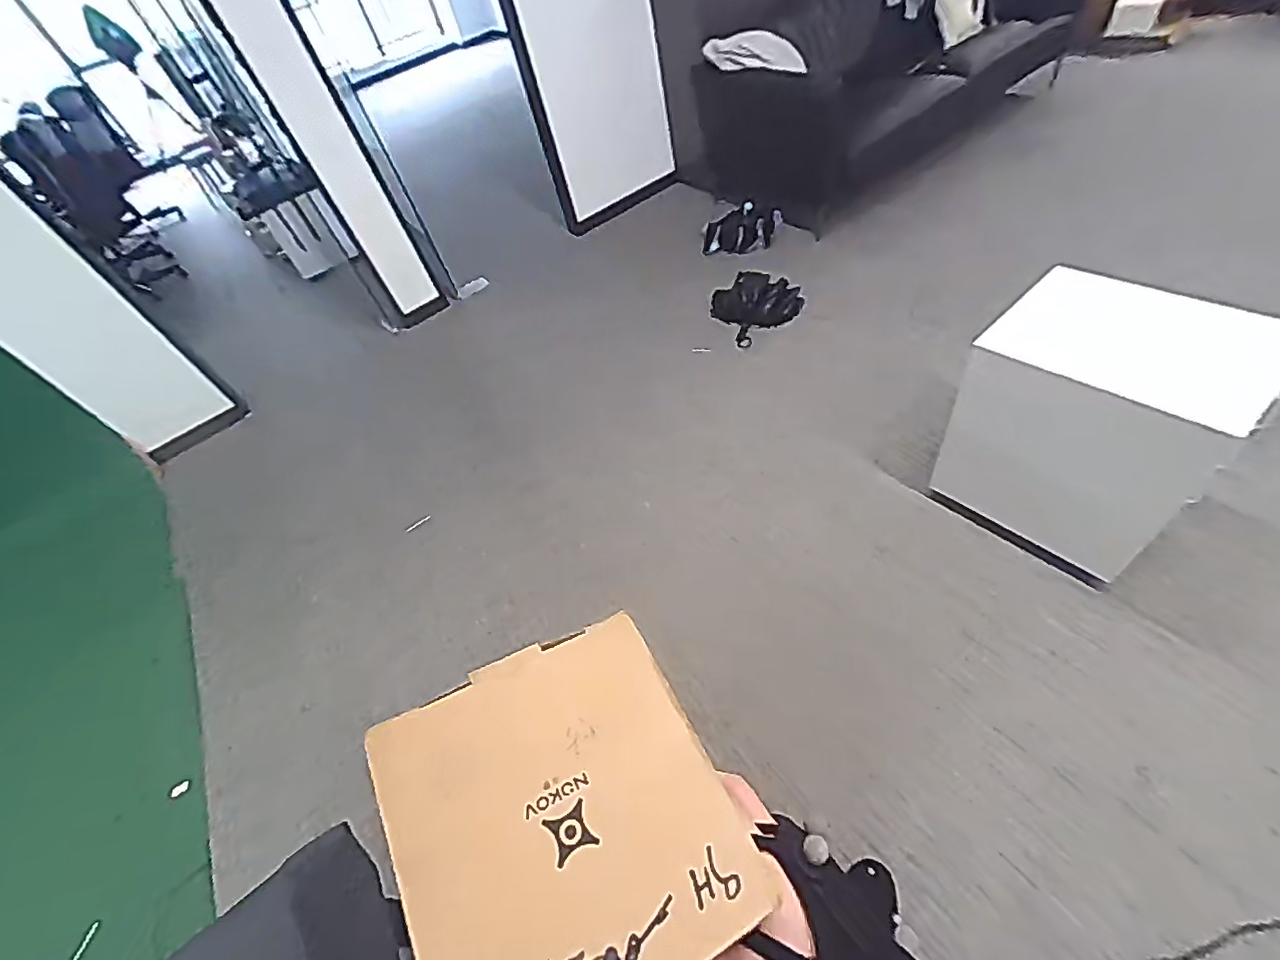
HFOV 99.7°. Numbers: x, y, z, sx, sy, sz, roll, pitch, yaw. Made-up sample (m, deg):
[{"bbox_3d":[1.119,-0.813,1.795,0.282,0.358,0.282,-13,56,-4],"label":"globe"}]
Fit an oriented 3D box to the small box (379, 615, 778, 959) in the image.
[{"bbox_3d":[-0.047,0.224,0.352,0.168,0.176,0.179,-20,58,-21],"label":"small box"}]
